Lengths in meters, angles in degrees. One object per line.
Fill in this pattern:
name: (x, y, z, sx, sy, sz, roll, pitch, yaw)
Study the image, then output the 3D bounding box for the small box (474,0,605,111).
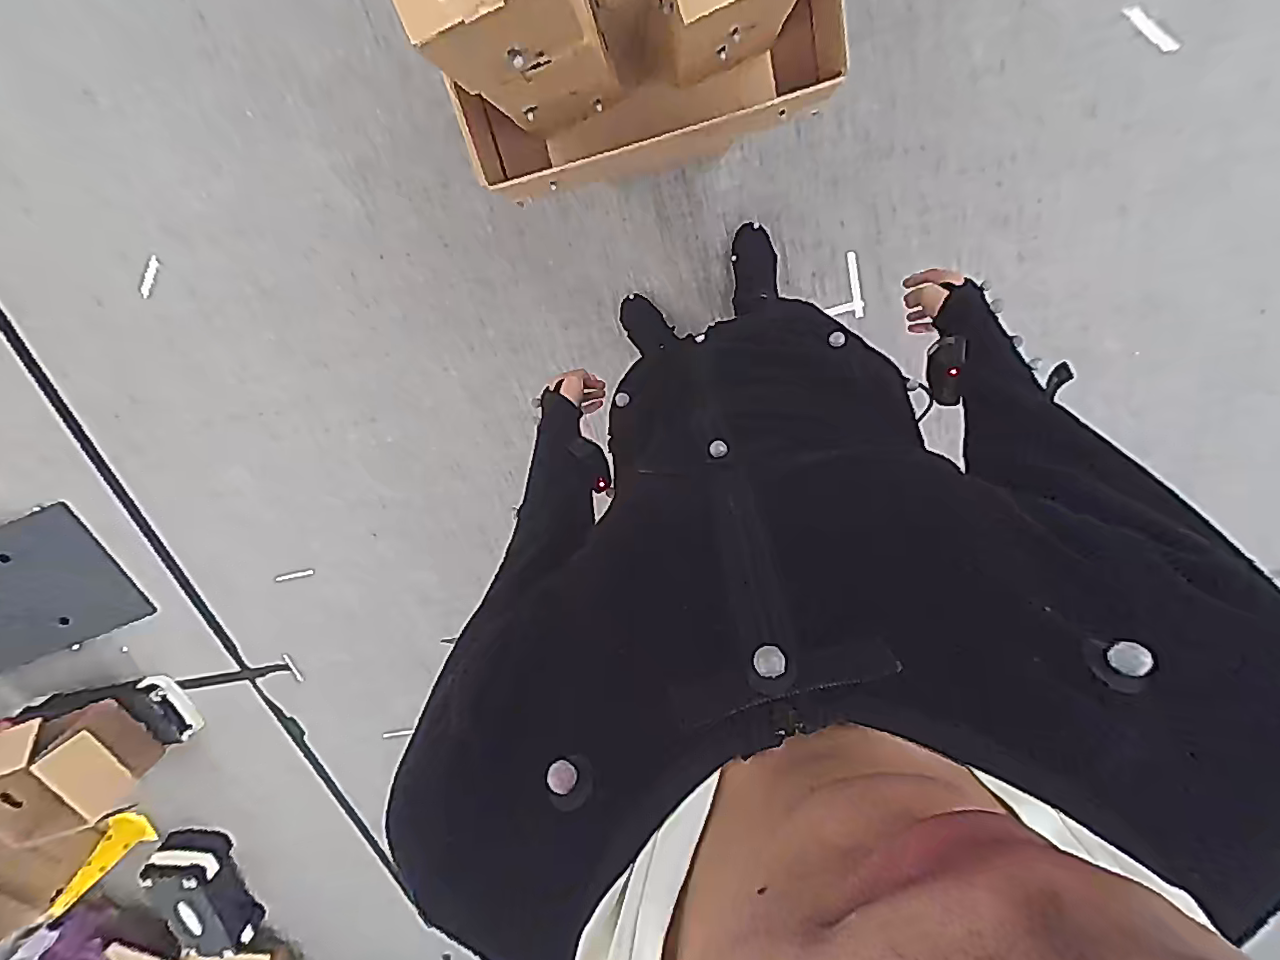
small box: (-0.155, -0.630, 0.730, 0.168, 0.176, 0.179, -16, 110, 10)

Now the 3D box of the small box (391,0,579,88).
small box: (-0.180, -0.568, 0.578, 0.168, 0.176, 0.179, -17, 110, 11)
